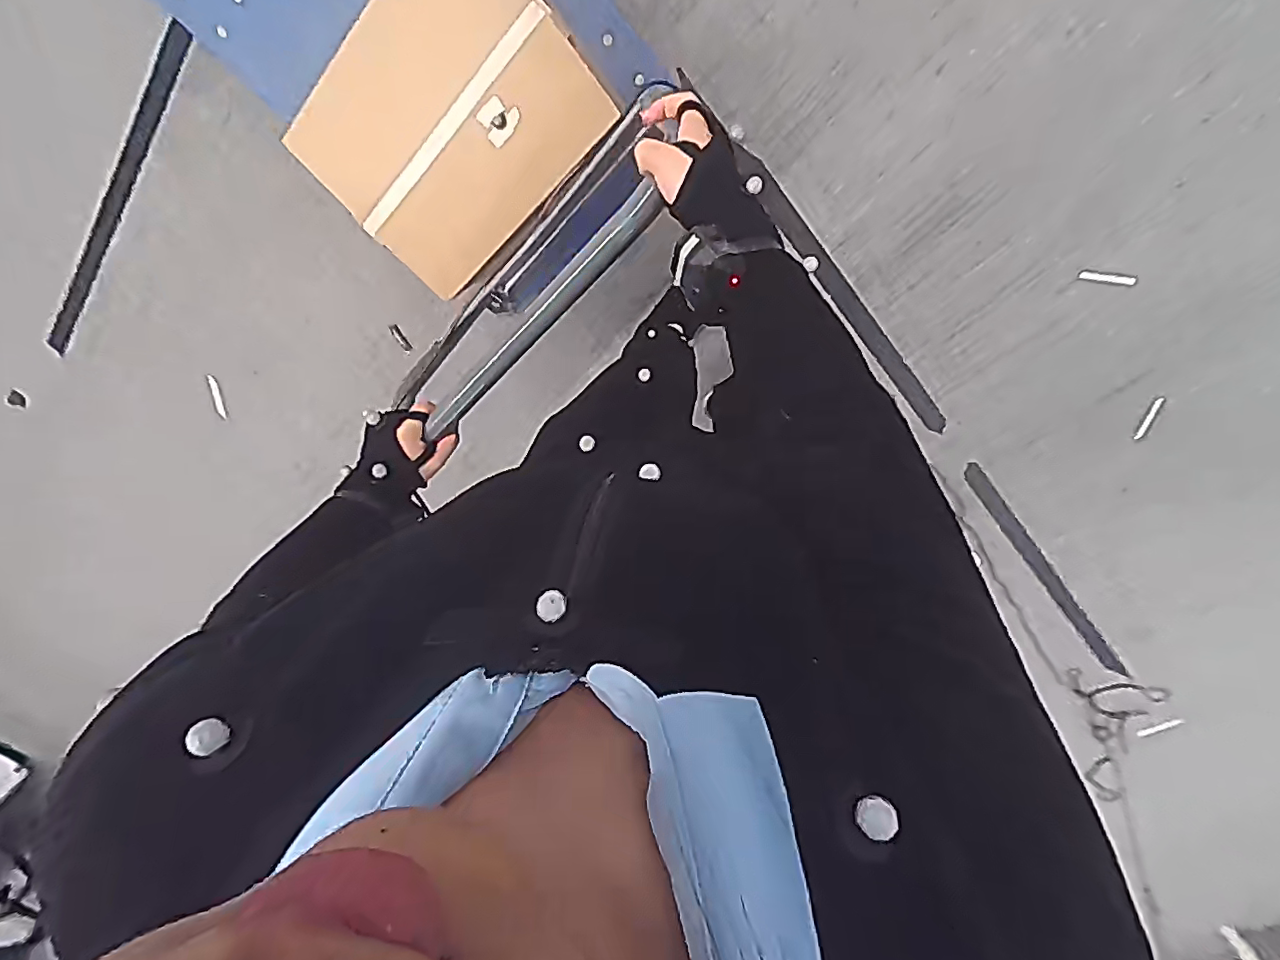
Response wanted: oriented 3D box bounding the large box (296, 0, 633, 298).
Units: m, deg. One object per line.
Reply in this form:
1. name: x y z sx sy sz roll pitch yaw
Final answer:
1. large box: -0.263 -0.588 0.910 0.408 0.320 0.320 -36 115 22
